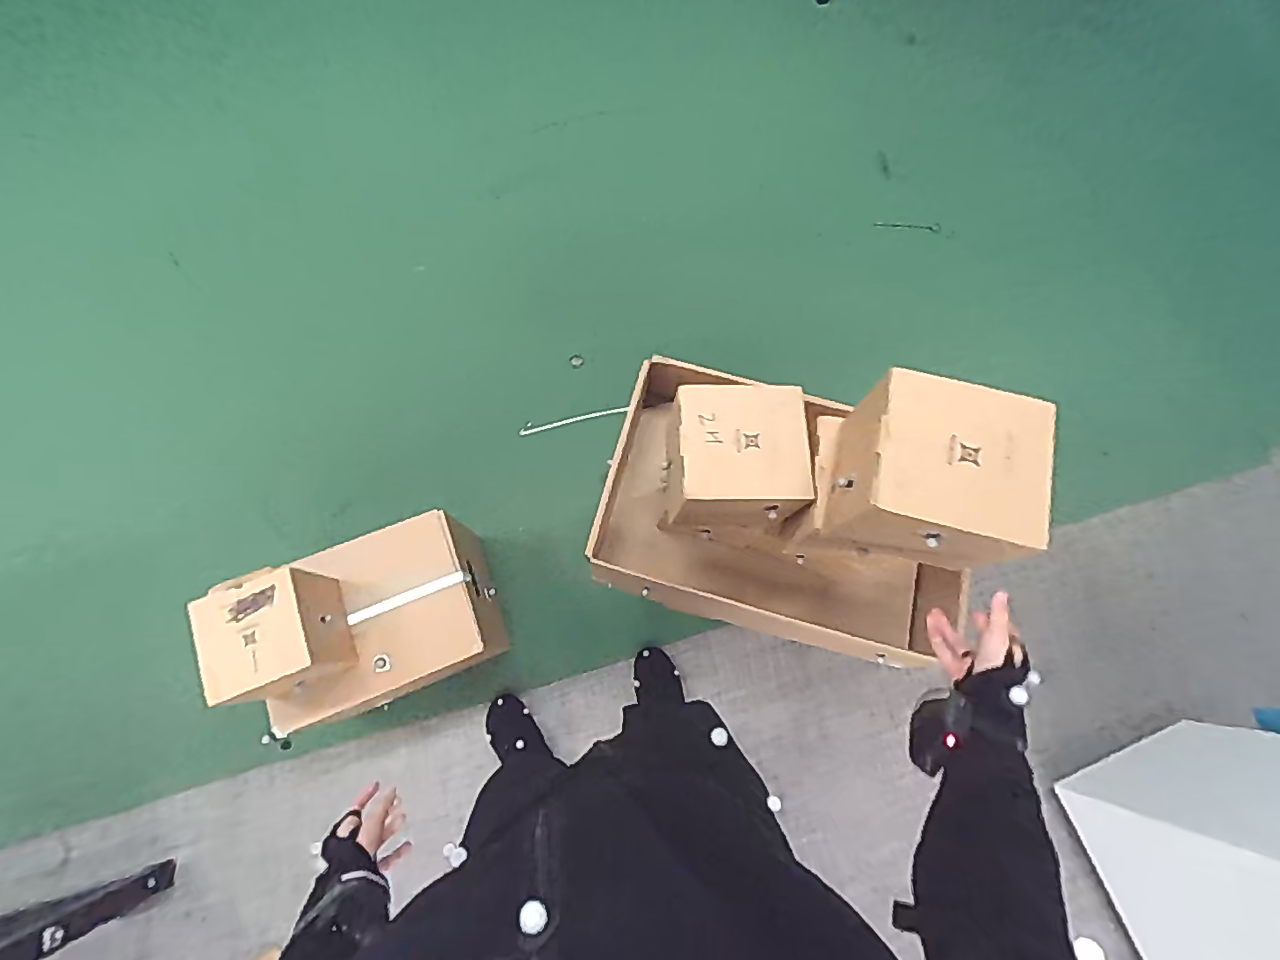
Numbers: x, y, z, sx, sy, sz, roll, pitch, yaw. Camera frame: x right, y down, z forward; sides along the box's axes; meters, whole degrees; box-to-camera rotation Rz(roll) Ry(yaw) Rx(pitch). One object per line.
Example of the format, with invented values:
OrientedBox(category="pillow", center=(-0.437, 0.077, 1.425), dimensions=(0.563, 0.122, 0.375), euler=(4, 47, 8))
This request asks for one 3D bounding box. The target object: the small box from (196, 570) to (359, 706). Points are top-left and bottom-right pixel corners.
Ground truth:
OrientedBox(category="small box", center=(-0.635, 0.280, 0.963), dimensions=(0.168, 0.176, 0.179), euler=(-21, 75, -8))

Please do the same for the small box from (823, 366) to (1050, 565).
OrientedBox(category="small box", center=(0.334, -0.006, 0.638), dimensions=(0.179, 0.176, 0.168), euler=(15, 74, 5))
